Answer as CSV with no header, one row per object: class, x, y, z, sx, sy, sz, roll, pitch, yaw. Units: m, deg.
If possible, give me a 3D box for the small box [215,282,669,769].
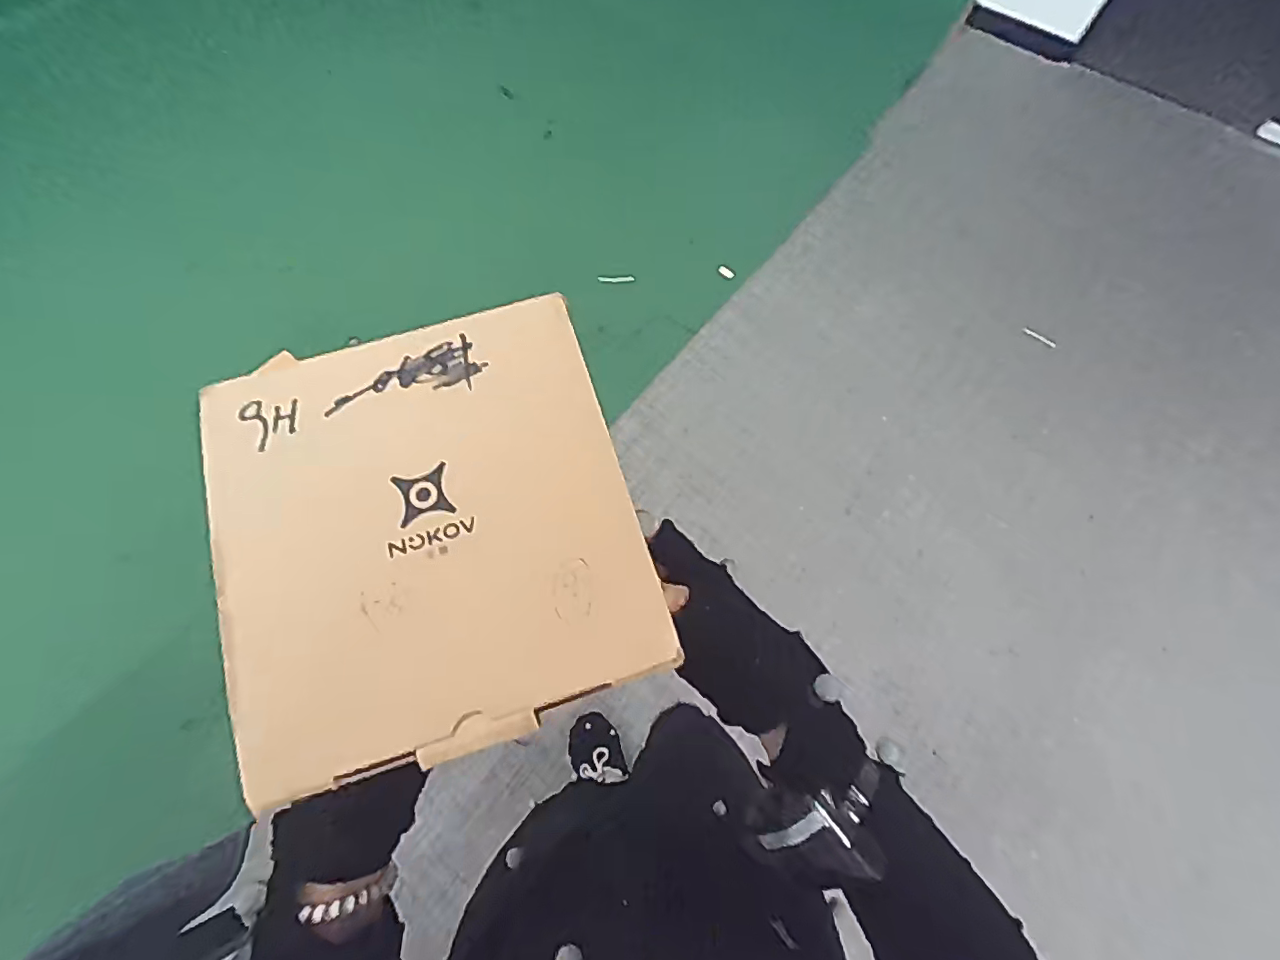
small box,-0.089,0.028,0.304,0.168,0.176,0.179,-16,74,-6
